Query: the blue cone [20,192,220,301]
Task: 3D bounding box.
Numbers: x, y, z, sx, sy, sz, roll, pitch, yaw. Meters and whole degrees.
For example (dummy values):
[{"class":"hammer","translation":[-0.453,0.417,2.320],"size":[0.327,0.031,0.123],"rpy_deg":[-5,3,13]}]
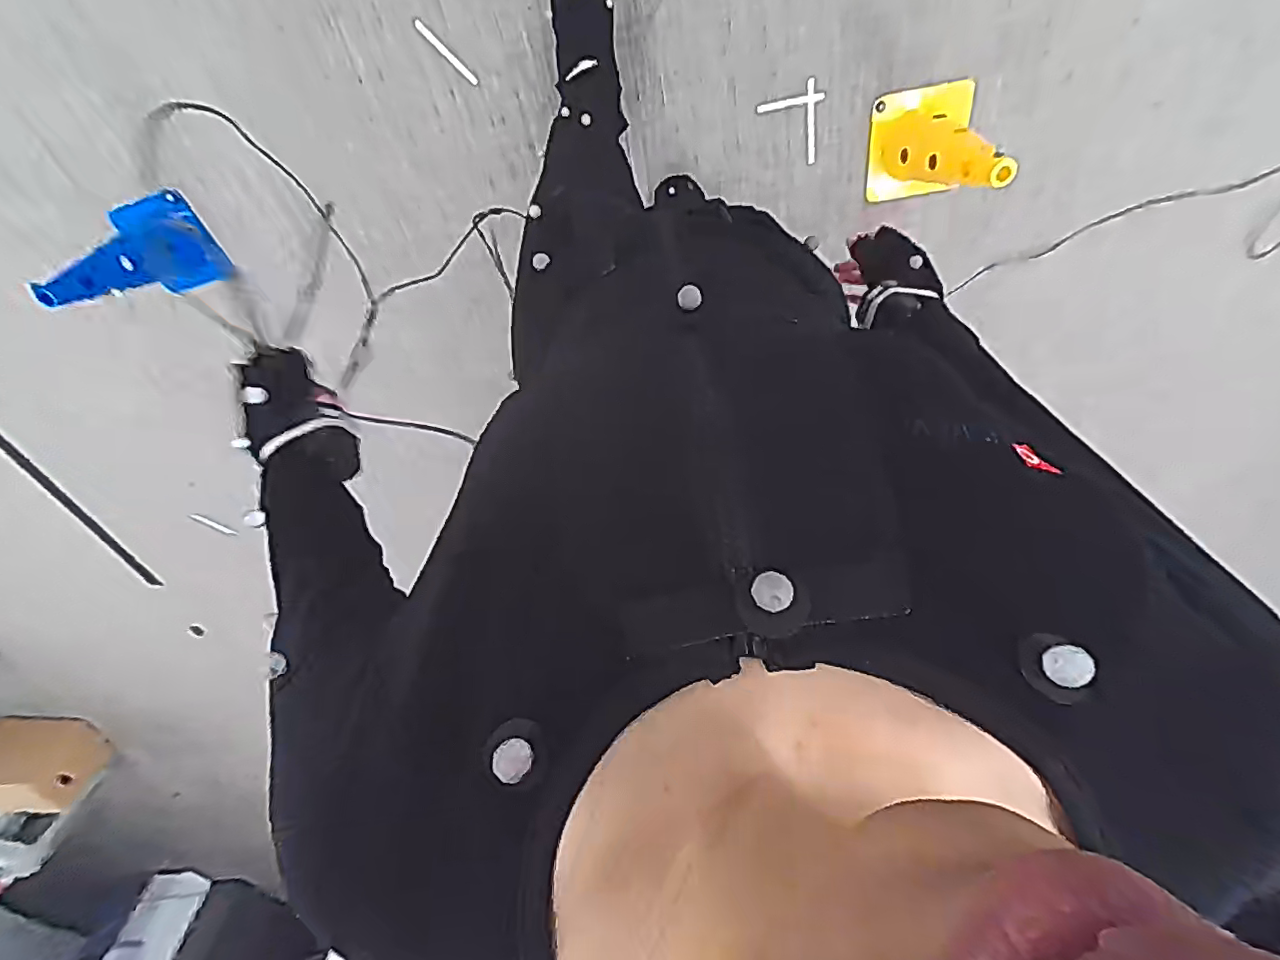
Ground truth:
[{"class":"blue cone","translation":[-1.121,-0.455,1.149],"size":[0.193,0.380,0.192],"rpy_deg":[-12,127,10]}]
